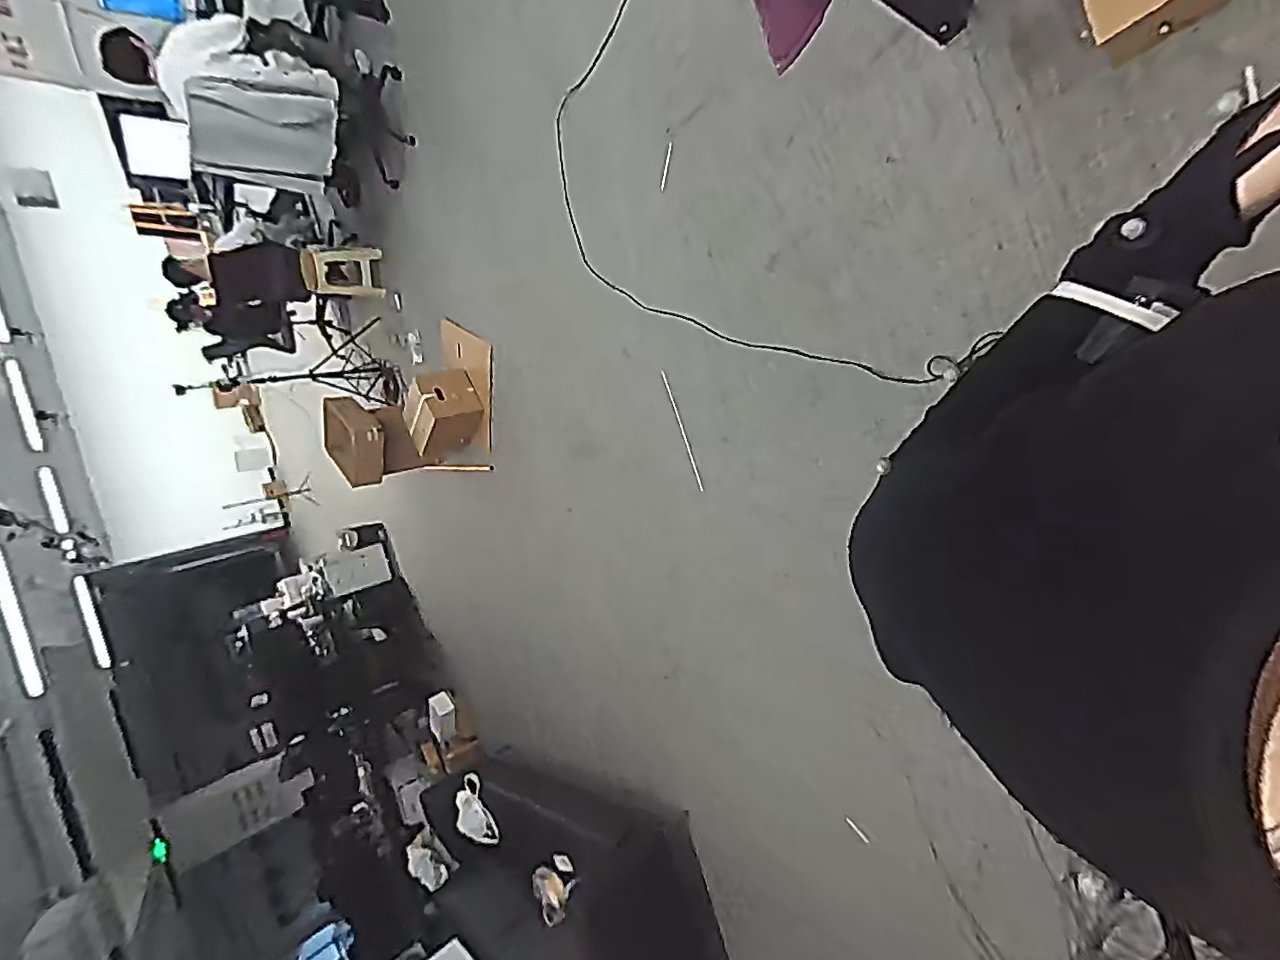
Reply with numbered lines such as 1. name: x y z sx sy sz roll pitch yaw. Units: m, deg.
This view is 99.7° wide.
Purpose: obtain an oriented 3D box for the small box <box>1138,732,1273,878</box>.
1. small box: 1.166 0.654 1.117 0.168 0.176 0.179 -14 92 51

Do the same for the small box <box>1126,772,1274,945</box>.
1. small box: 1.044 0.687 1.011 0.168 0.176 0.179 -12 95 51
